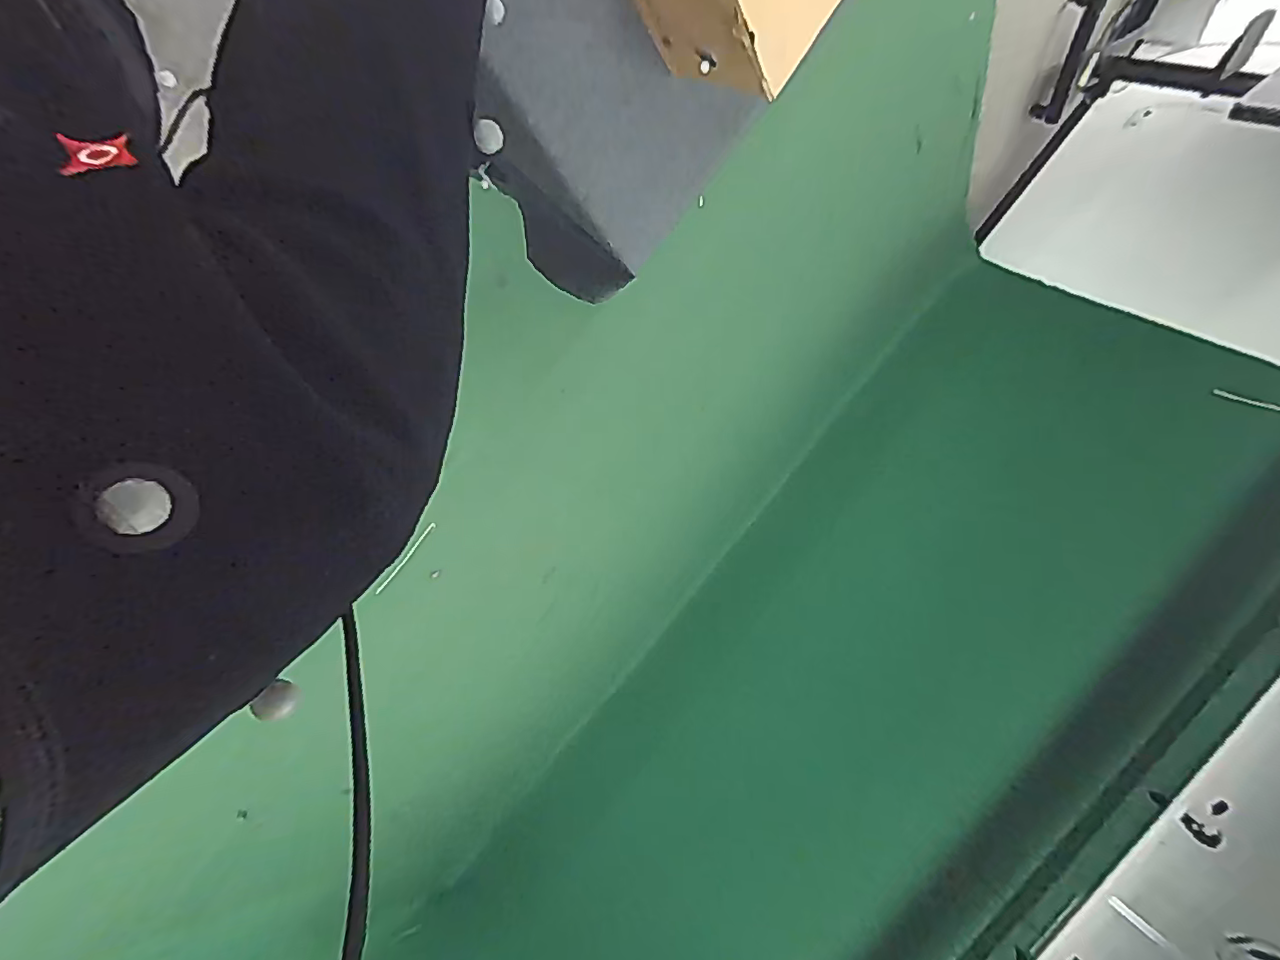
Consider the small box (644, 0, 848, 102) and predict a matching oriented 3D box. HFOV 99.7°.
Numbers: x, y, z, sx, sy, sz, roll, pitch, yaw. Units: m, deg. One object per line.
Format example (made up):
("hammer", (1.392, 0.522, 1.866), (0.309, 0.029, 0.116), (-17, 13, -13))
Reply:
("small box", (0.112, -0.559, 0.580), (0.179, 0.176, 0.168), (-56, 150, 7))
